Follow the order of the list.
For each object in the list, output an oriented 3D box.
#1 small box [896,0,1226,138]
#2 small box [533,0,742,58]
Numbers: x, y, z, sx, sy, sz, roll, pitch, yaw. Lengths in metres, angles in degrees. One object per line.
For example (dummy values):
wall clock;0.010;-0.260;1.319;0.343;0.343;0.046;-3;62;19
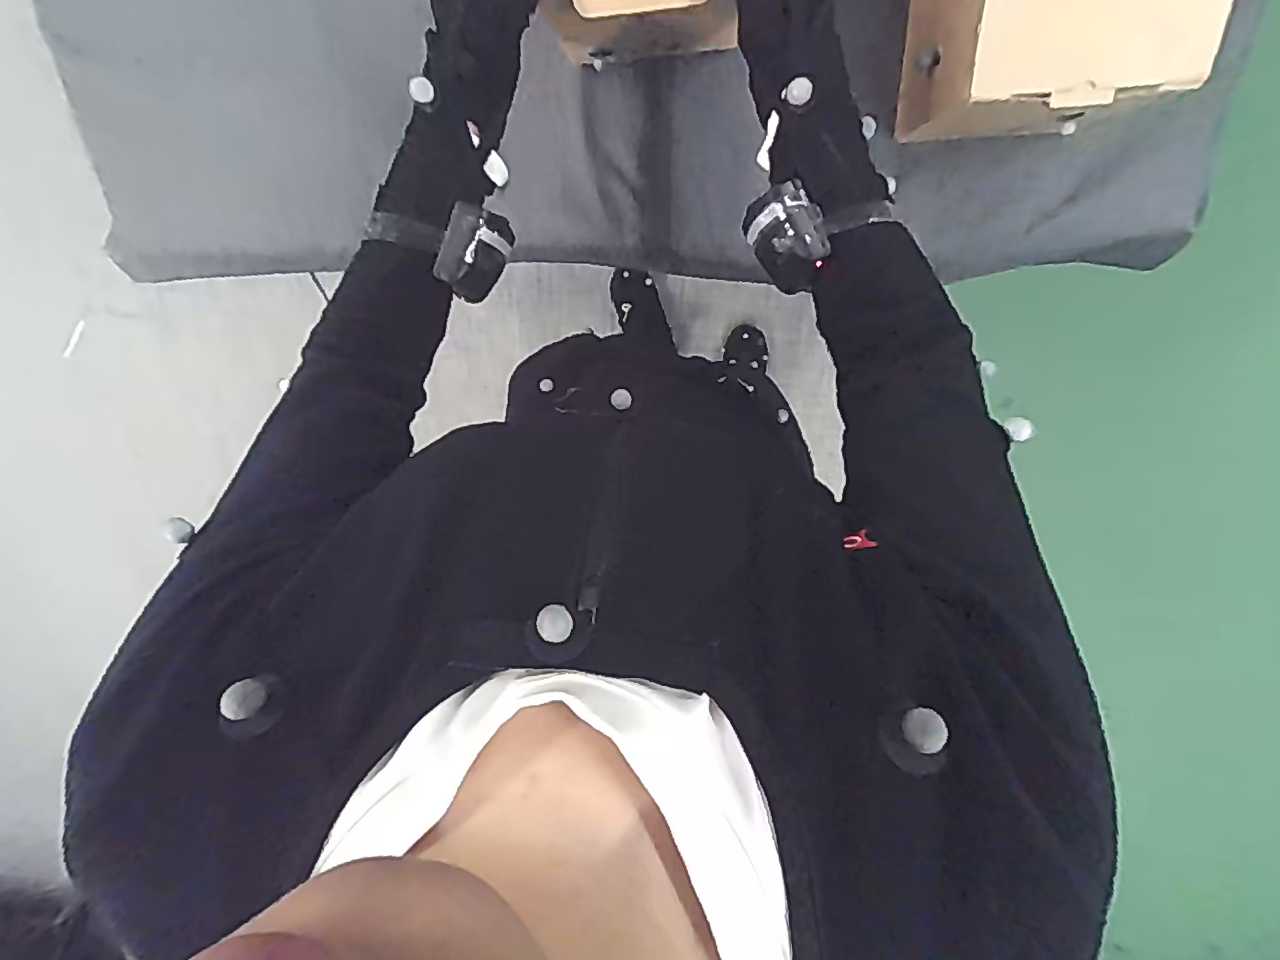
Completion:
small box;0.326;-0.393;0.439;0.168;0.176;0.179;-1;112;5
small box;0.000;-0.467;0.429;0.168;0.176;0.179;-2;111;6
